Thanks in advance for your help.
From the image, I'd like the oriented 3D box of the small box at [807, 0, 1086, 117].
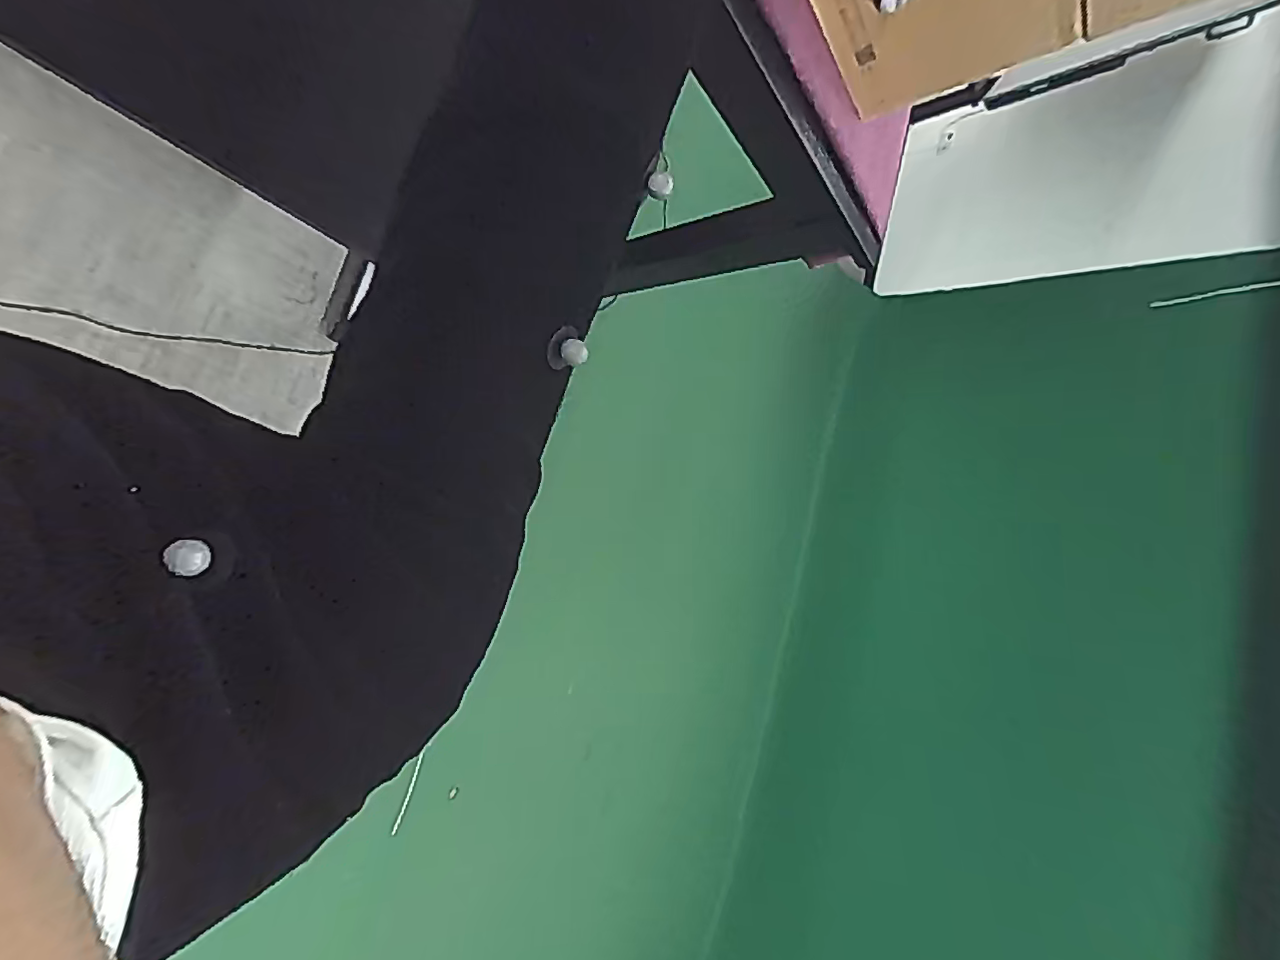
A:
[{"bbox_3d":[0.236,-0.431,0.409,0.168,0.176,0.179,27,77,-46],"label":"small box"}]
